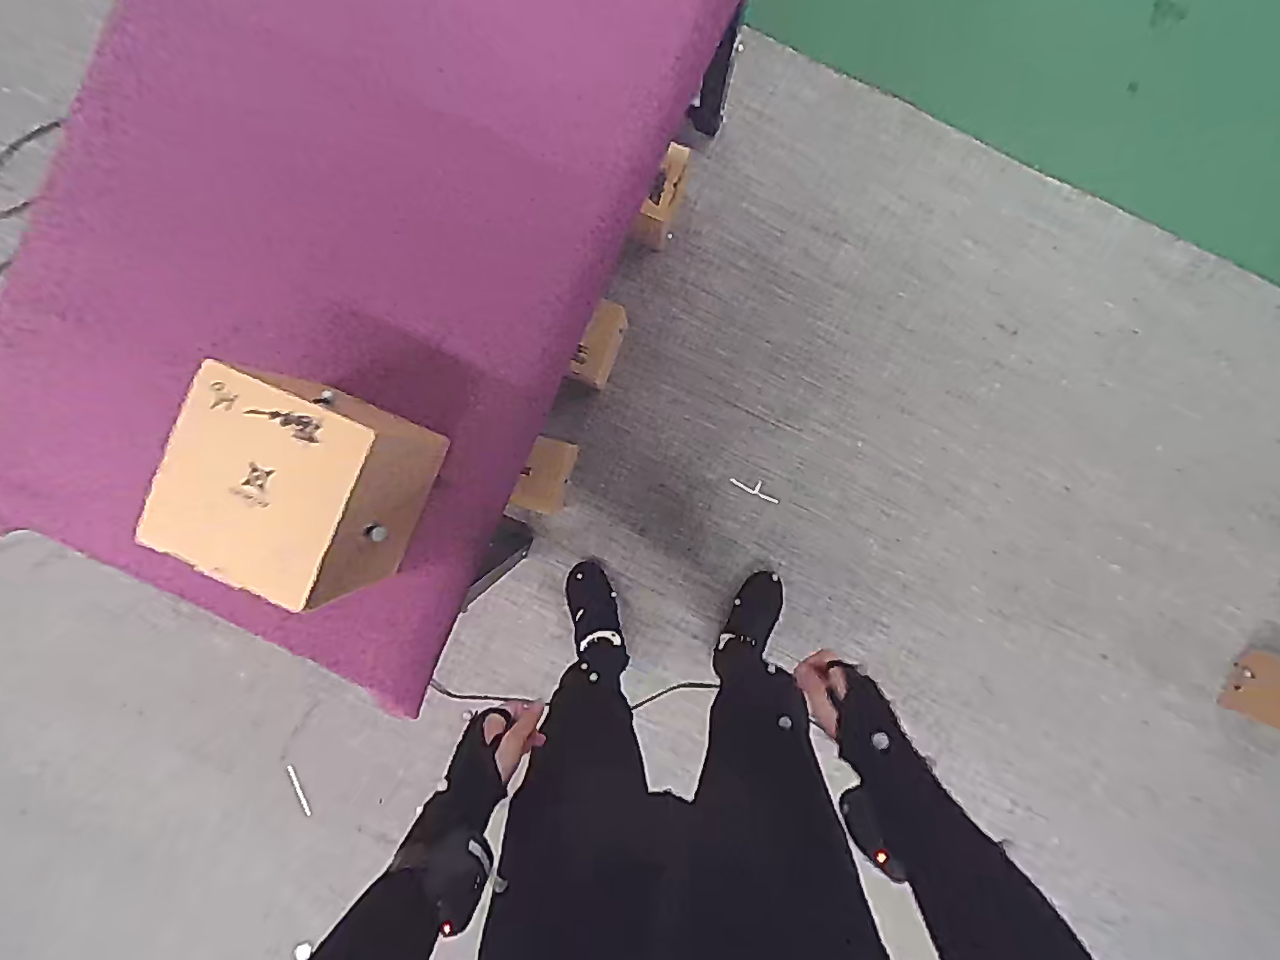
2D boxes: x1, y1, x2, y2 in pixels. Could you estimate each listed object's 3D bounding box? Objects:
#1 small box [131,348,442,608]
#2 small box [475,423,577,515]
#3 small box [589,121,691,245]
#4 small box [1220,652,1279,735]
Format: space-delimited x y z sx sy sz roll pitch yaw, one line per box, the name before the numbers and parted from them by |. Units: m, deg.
small box | -0.325 -0.003 0.536 0.168 0.176 0.179 24 92 1
small box | -0.256 -0.029 1.263 0.179 0.176 0.168 17 92 0
small box | 0.002 -0.664 1.235 0.179 0.176 0.168 22 92 1
small box | 1.548 0.528 1.261 0.179 0.176 0.168 25 92 0
